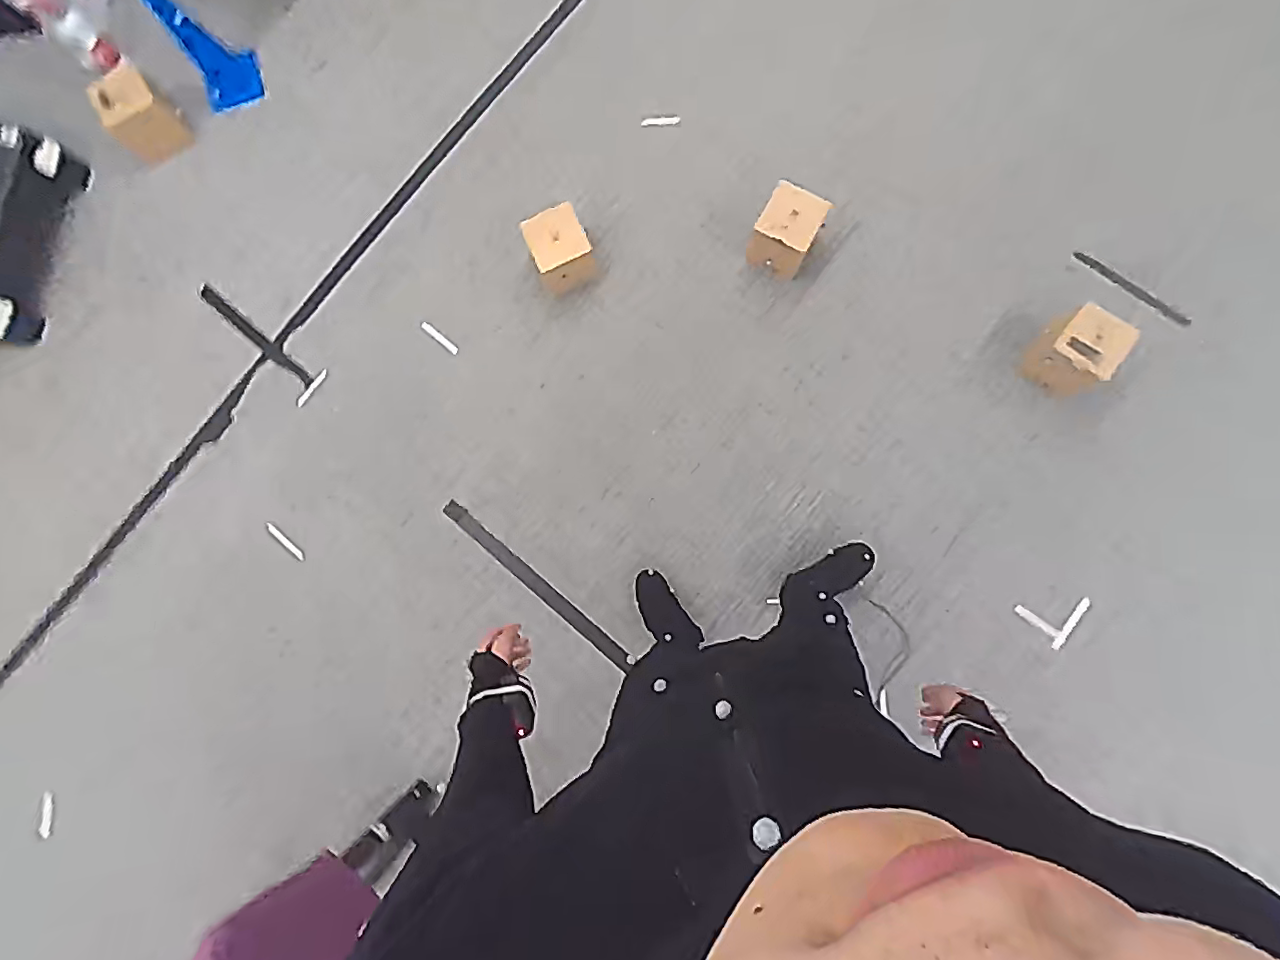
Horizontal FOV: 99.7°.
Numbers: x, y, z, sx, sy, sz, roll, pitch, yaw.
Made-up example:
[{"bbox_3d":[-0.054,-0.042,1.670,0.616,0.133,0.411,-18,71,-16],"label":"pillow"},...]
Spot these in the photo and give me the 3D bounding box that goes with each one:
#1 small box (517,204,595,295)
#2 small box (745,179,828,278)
[{"bbox_3d":[-0.250,-0.695,1.659,0.168,0.176,0.179,-26,83,0],"label":"small box"},{"bbox_3d":[0.432,-0.749,1.626,0.168,0.176,0.179,28,87,5],"label":"small box"}]
